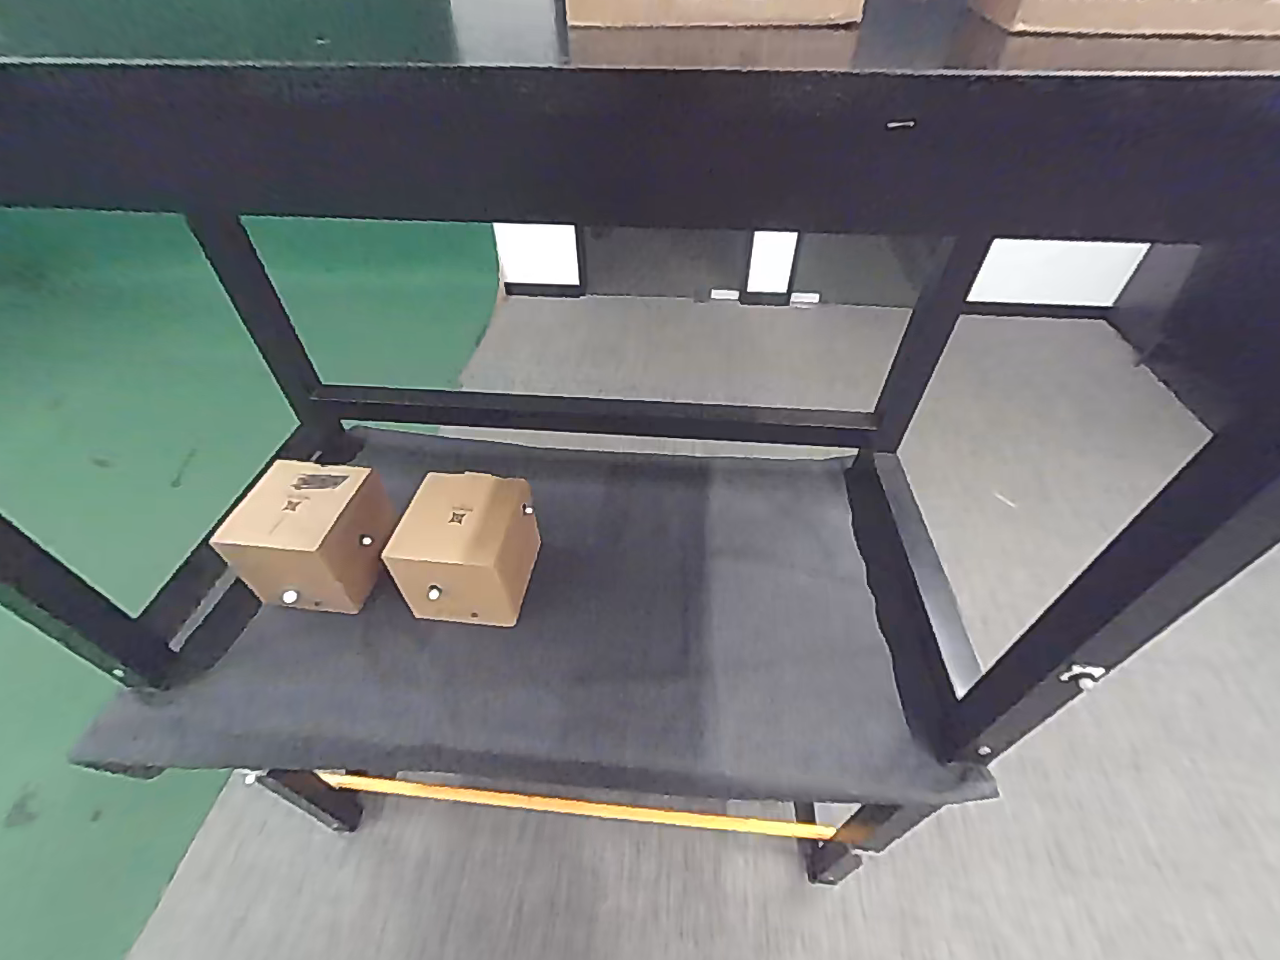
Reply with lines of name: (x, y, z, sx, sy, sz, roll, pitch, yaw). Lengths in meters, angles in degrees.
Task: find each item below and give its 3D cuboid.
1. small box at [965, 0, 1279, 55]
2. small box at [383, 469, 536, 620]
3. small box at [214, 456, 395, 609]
small box: (0.284, -0.320, 0.258, 0.168, 0.176, 0.179, 12, 46, 11)
small box: (-0.273, 0.106, 0.869, 0.168, 0.176, 0.179, 5, 45, 4)
small box: (-0.525, 0.086, 0.884, 0.168, 0.176, 0.179, 5, 46, 5)
